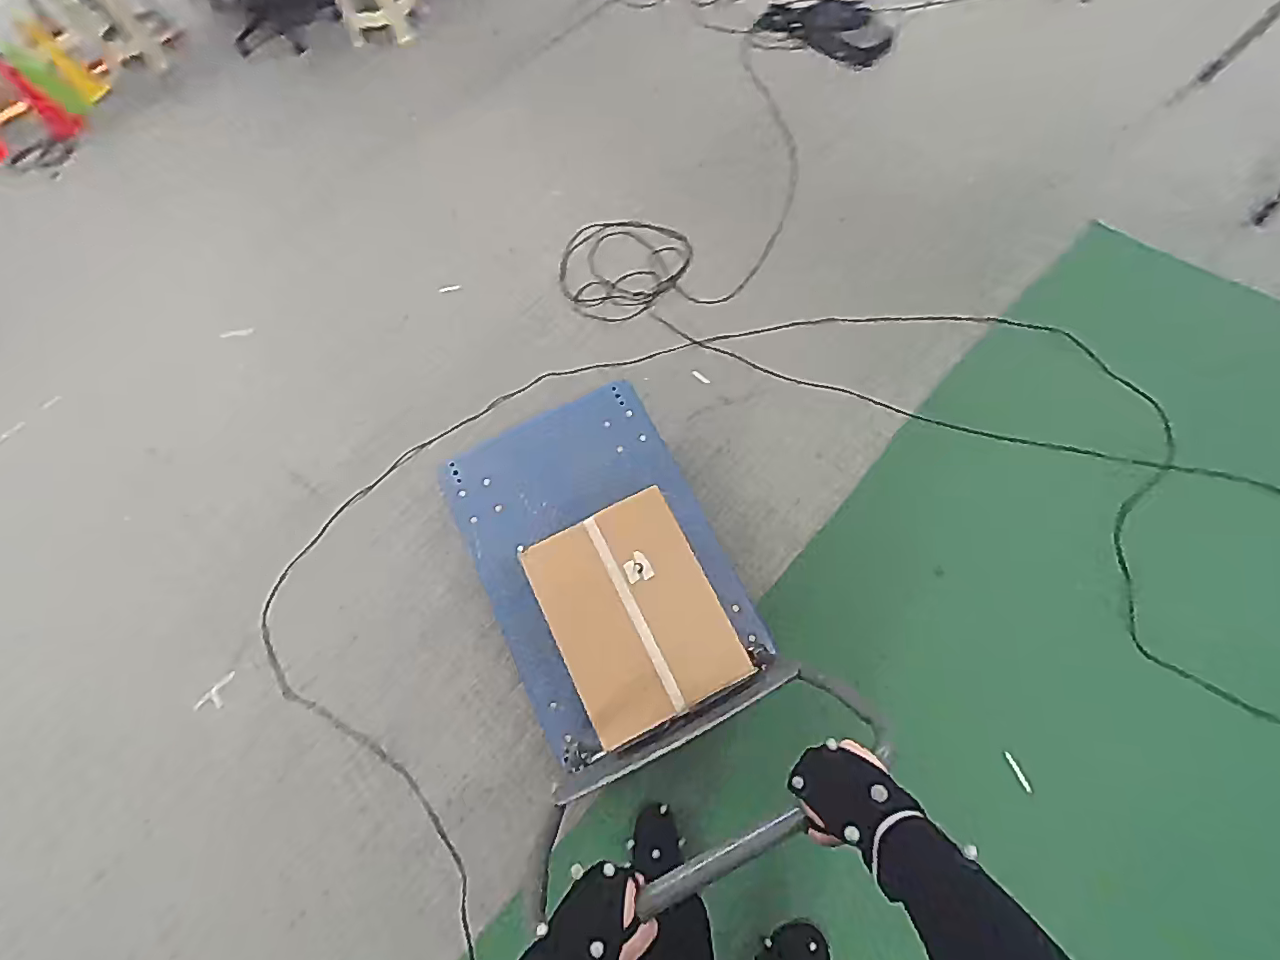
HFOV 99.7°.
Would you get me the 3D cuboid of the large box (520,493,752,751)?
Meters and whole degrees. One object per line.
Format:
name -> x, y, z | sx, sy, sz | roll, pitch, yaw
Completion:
large box -> -0.009, 0.300, 1.182 | 0.320, 0.320, 0.408 | -26, 74, -7
